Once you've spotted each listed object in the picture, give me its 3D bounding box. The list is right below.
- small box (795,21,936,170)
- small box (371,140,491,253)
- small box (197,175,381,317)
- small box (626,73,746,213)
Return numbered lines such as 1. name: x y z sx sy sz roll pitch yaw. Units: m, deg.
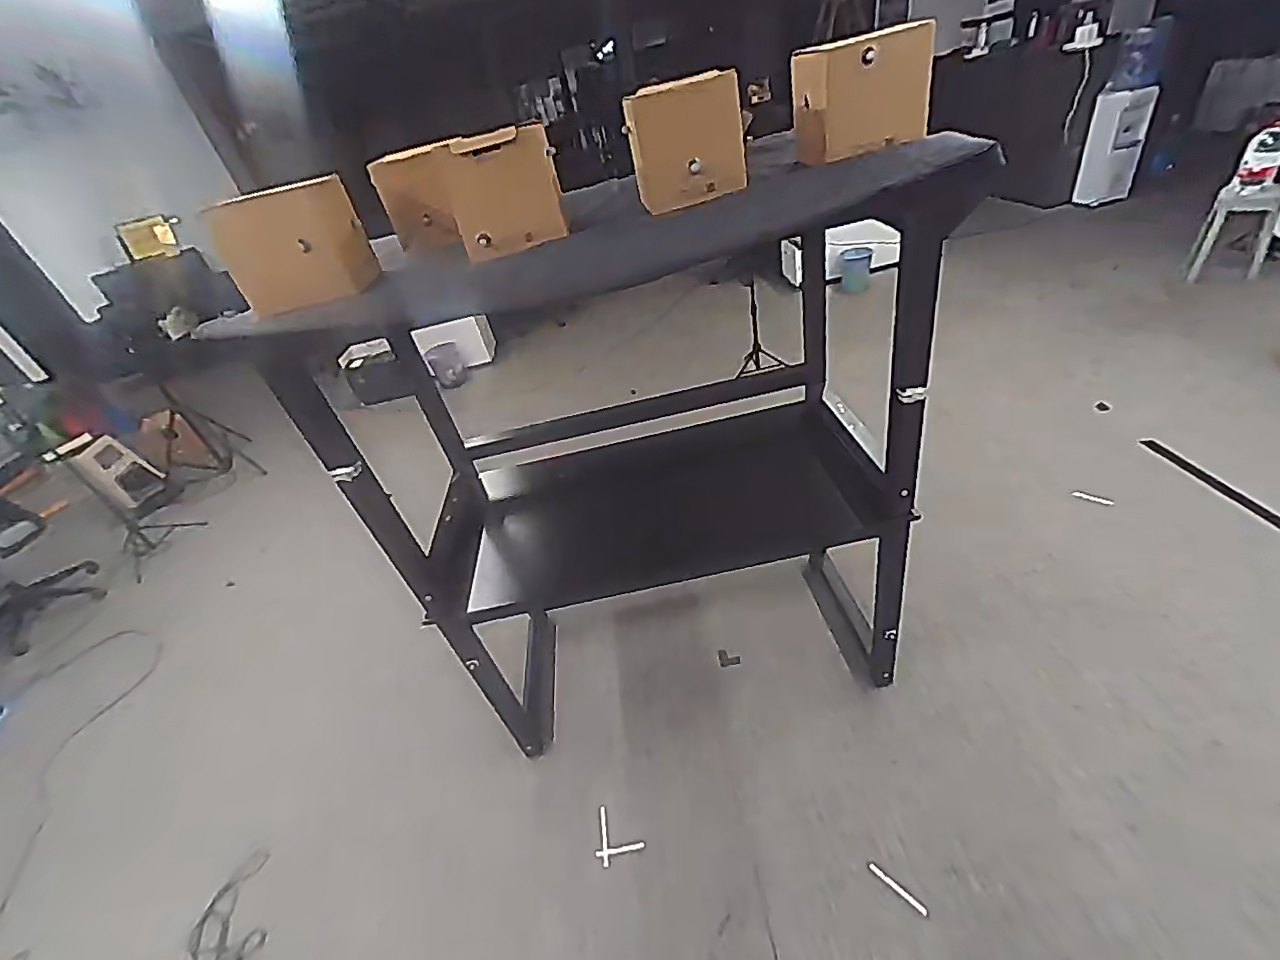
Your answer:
1. small box: 0.369 -0.638 0.913 0.168 0.176 0.179 -13 35 4
2. small box: -0.423 -0.592 1.131 0.168 0.176 0.179 -14 37 1
3. small box: -0.573 -0.396 0.917 0.179 0.176 0.168 -13 35 0
4. small box: 0.077 -0.572 0.926 0.168 0.176 0.179 -13 35 3
